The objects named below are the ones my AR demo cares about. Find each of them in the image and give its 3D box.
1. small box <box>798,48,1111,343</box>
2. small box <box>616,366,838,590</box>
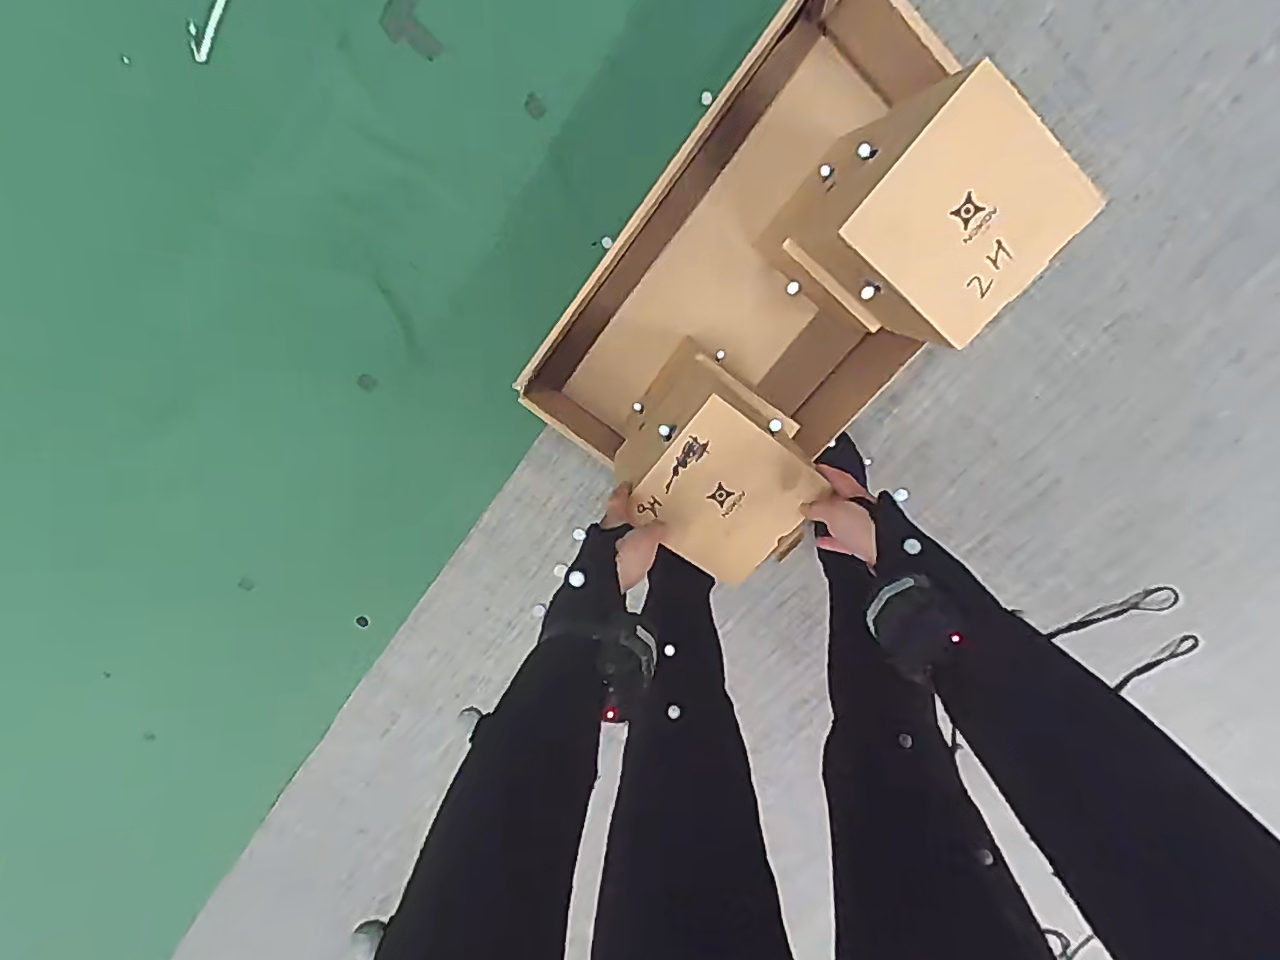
[{"bbox_3d":[0.290,-0.265,0.541,0.179,0.176,0.168,36,108,-16],"label":"small box"},{"bbox_3d":[0.087,-0.011,0.634,0.179,0.176,0.168,34,108,-17],"label":"small box"}]
